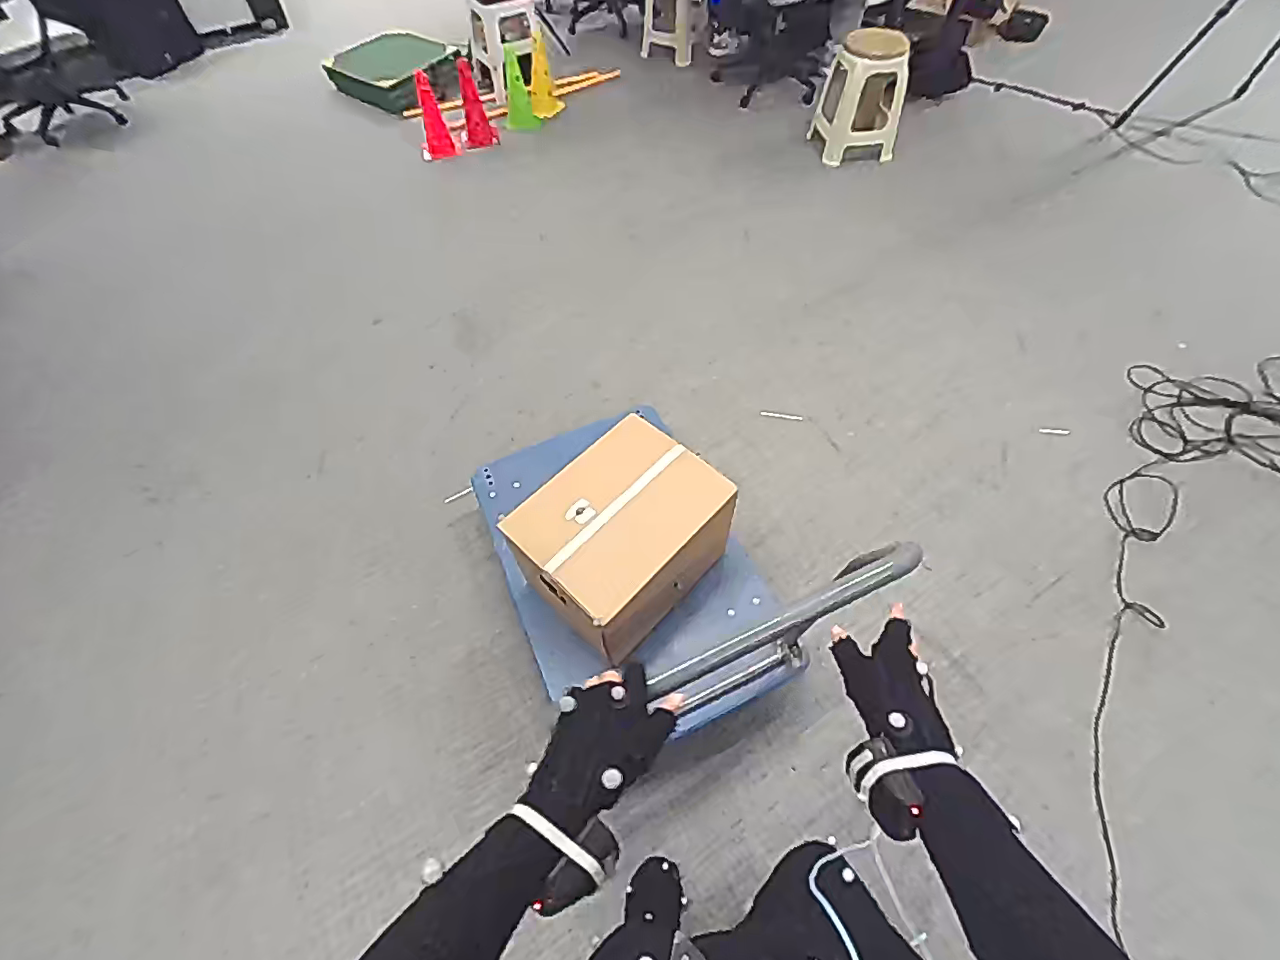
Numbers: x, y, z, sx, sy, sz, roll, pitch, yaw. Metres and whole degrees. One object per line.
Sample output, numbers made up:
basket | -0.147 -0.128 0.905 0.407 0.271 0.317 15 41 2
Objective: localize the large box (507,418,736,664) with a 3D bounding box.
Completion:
large box | -0.028 0.143 1.252 0.320 0.320 0.408 35 66 23
